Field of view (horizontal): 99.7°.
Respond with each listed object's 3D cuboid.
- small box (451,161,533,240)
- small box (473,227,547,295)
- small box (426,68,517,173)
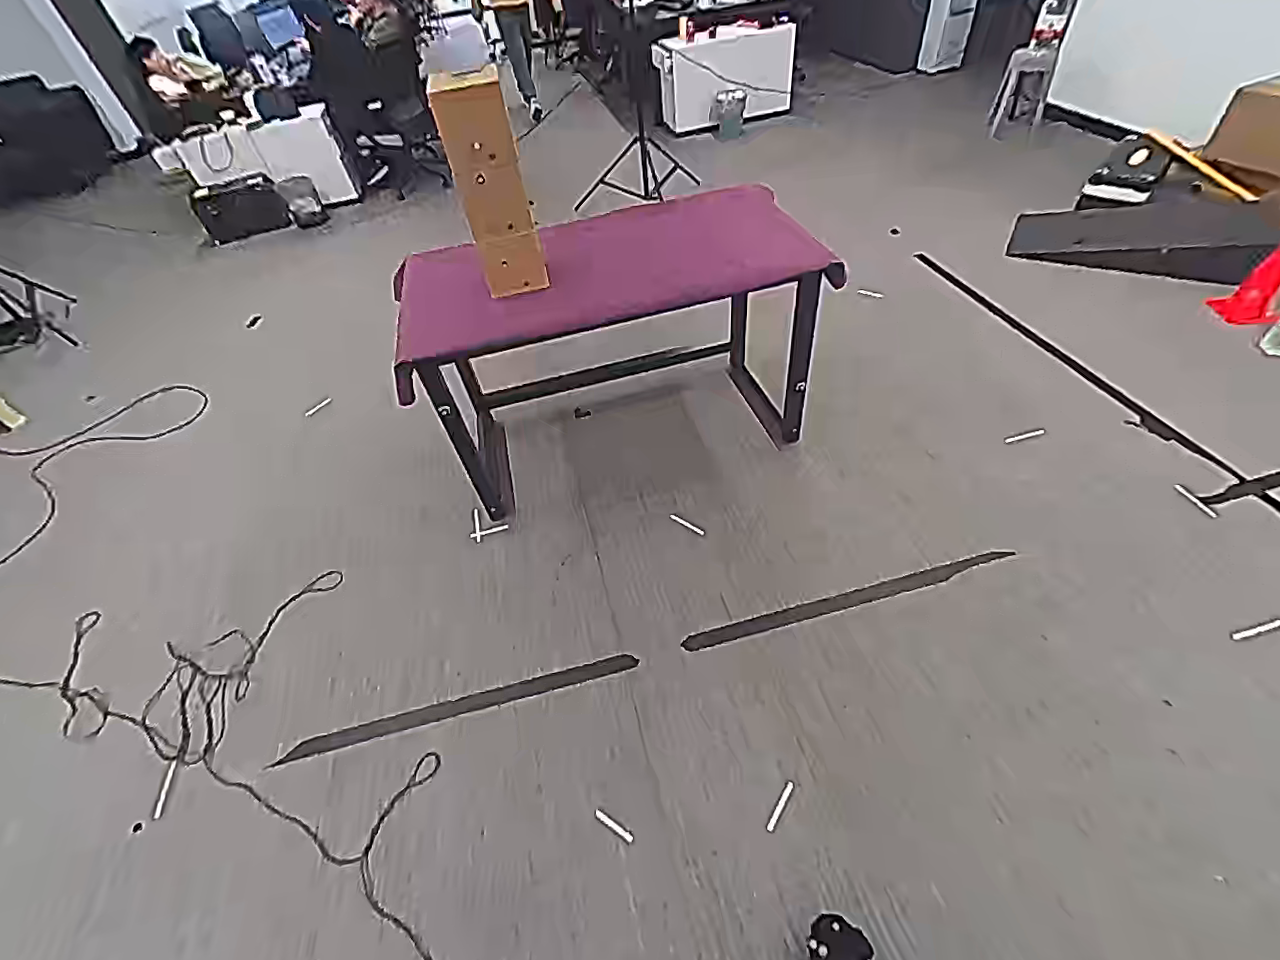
[{"bbox_3d":[-0.390,-0.761,1.434,0.168,0.176,0.179,-15,47,-5],"label":"small box"},{"bbox_3d":[-0.370,-0.647,1.550,0.168,0.176,0.179,-14,47,-4],"label":"small box"},{"bbox_3d":[-0.403,-0.871,1.311,0.168,0.176,0.179,-14,48,-4],"label":"small box"}]
